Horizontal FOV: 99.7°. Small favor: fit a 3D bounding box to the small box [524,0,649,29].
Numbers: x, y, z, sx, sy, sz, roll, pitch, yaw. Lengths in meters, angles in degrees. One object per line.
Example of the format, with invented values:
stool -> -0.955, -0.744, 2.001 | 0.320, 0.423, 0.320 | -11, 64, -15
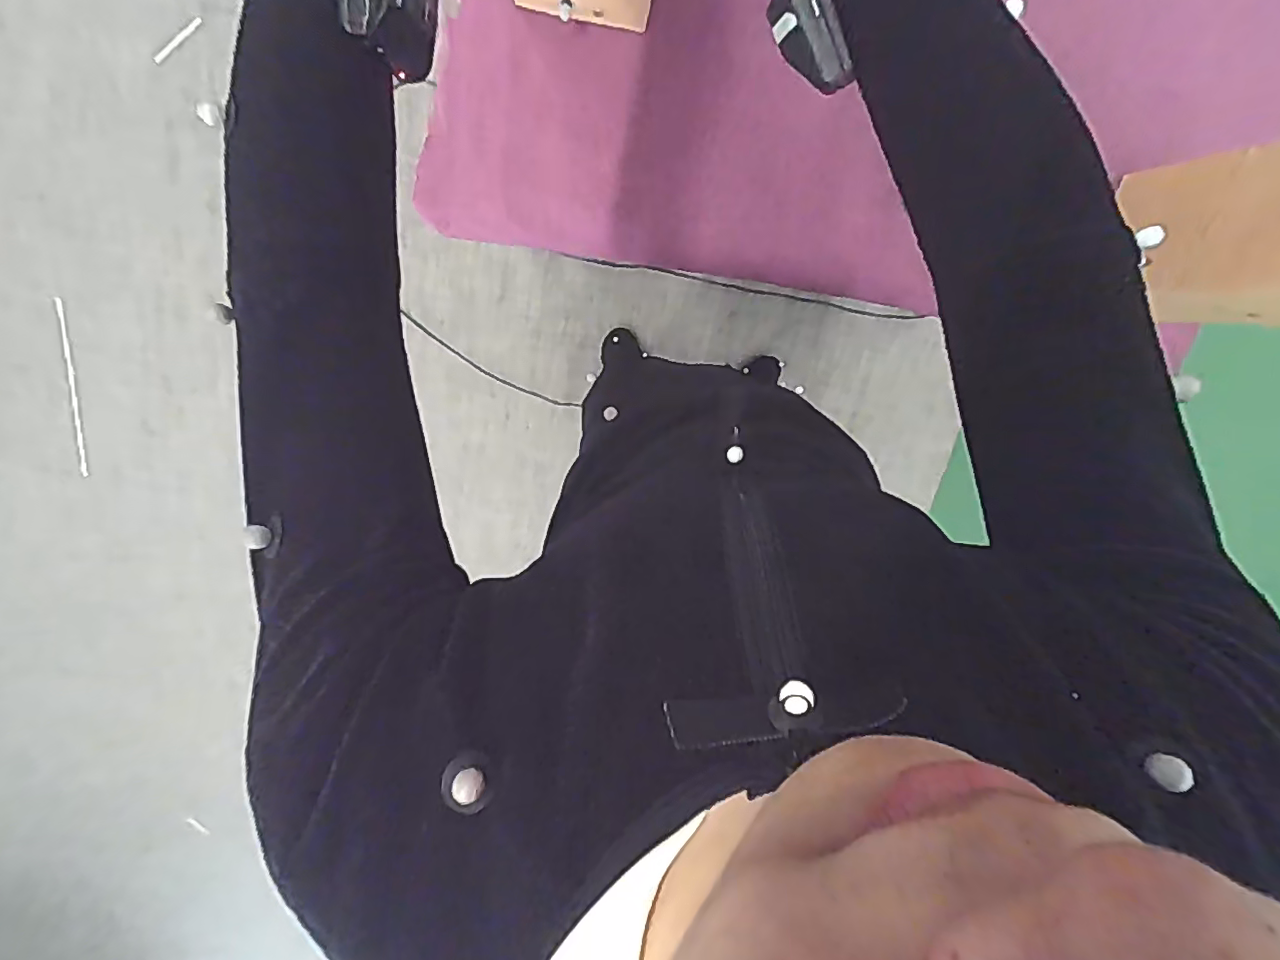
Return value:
small box -> -0.057, -0.639, 0.581 | 0.168, 0.176, 0.179 | 6, 109, -7
